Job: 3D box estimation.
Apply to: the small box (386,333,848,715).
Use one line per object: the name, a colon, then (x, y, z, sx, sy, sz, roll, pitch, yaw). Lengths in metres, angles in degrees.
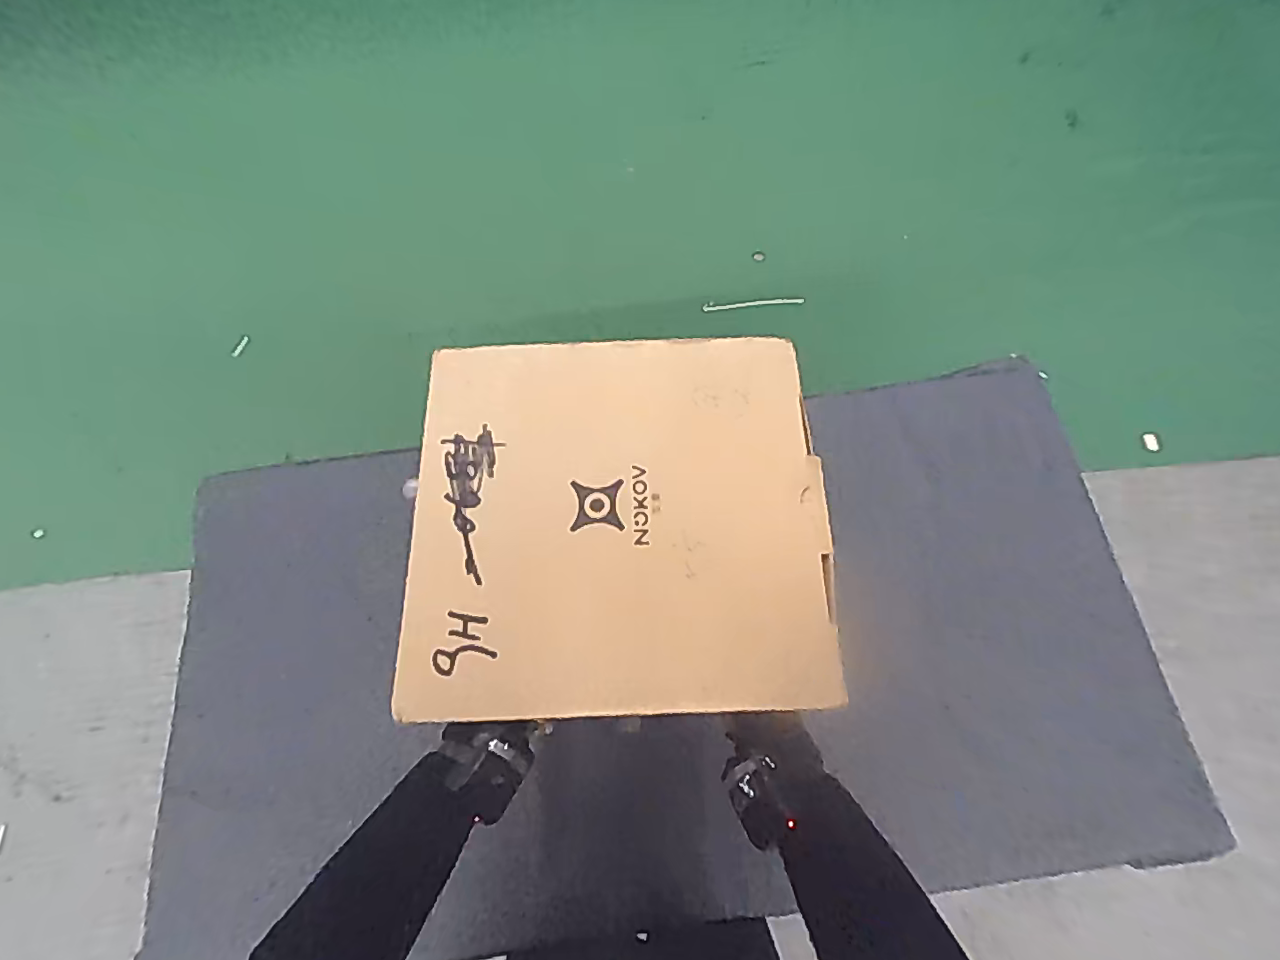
small box: (-0.011, 0.037, 0.303, 0.179, 0.176, 0.168, -1, 69, -1)
